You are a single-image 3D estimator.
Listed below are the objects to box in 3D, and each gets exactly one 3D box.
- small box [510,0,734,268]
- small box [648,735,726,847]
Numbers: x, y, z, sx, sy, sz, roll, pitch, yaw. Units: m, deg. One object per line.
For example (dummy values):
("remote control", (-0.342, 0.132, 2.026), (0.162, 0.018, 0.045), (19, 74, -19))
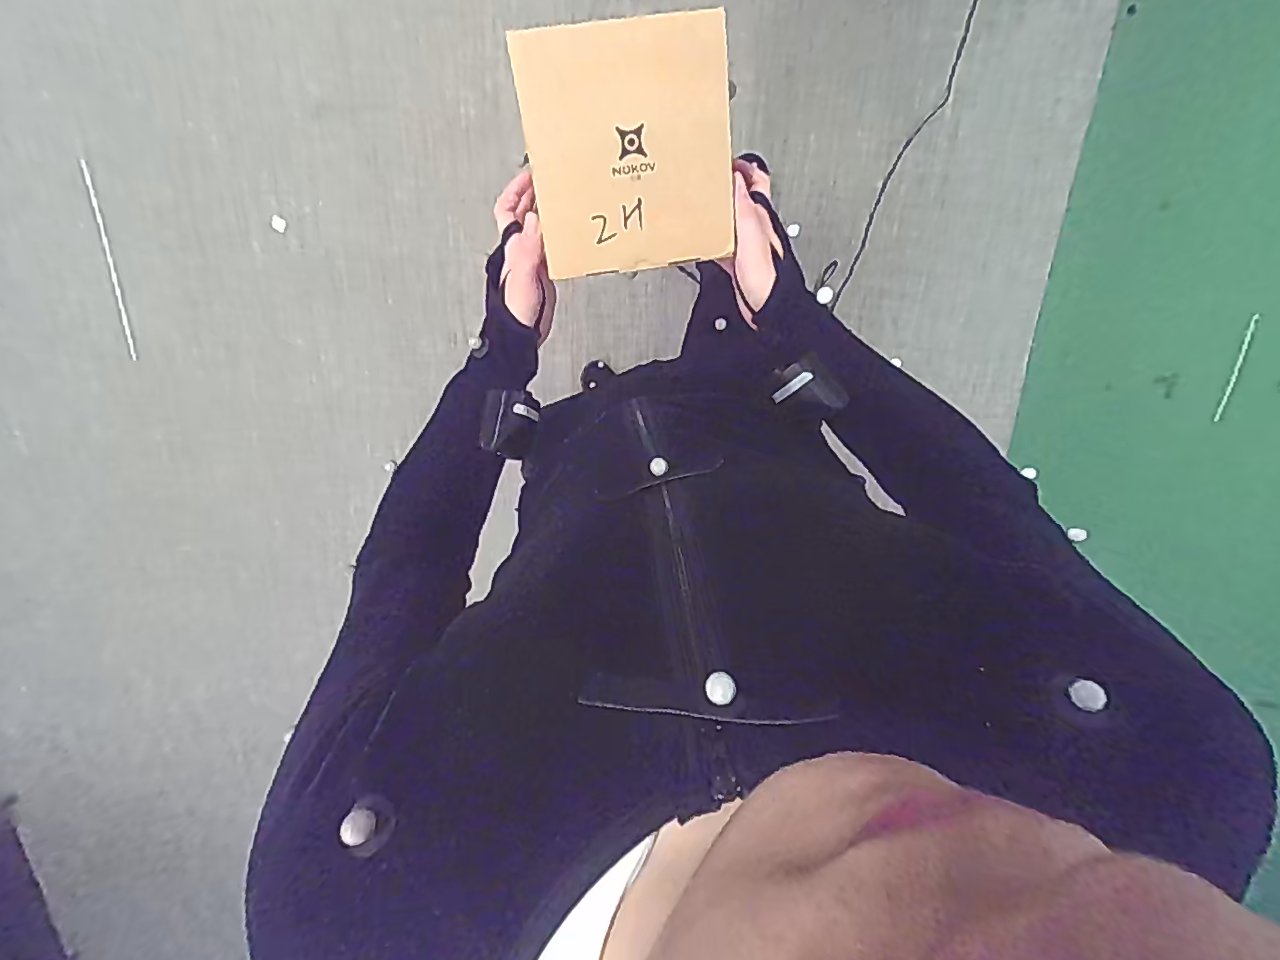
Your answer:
("small box", (-0.016, -0.304, 0.503), (0.168, 0.176, 0.179), (-9, 116, -2))
("small box", (0.112, 0.786, 1.374), (0.168, 0.176, 0.179), (6, 106, -3))
